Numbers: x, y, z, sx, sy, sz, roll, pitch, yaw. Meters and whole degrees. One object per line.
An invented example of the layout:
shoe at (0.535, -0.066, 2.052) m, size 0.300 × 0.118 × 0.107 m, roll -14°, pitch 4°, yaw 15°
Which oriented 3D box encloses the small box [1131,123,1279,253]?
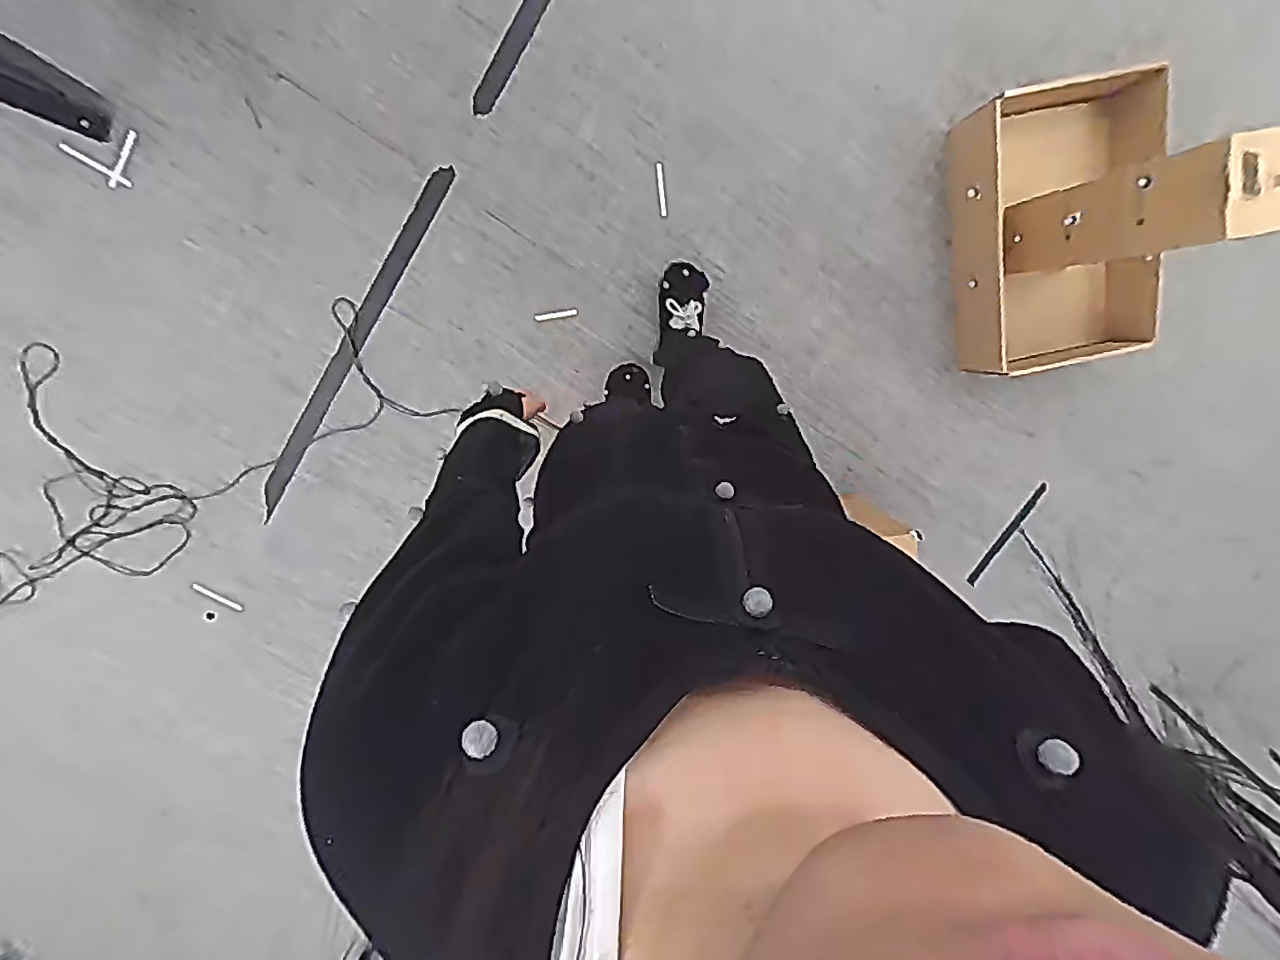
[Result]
small box at (1.046, -0.522, 0.980) m, size 0.179 × 0.176 × 0.168 m, roll -12°, pitch 104°, yaw -3°

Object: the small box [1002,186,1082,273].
small box at (1.013, -0.600, 1.295) m, size 0.179 × 0.176 × 0.168 m, roll -9°, pitch 104°, yaw -2°

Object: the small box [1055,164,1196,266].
small box at (1.028, -0.559, 1.139) m, size 0.179 × 0.176 × 0.168 m, roll -10°, pitch 104°, yaw -1°
